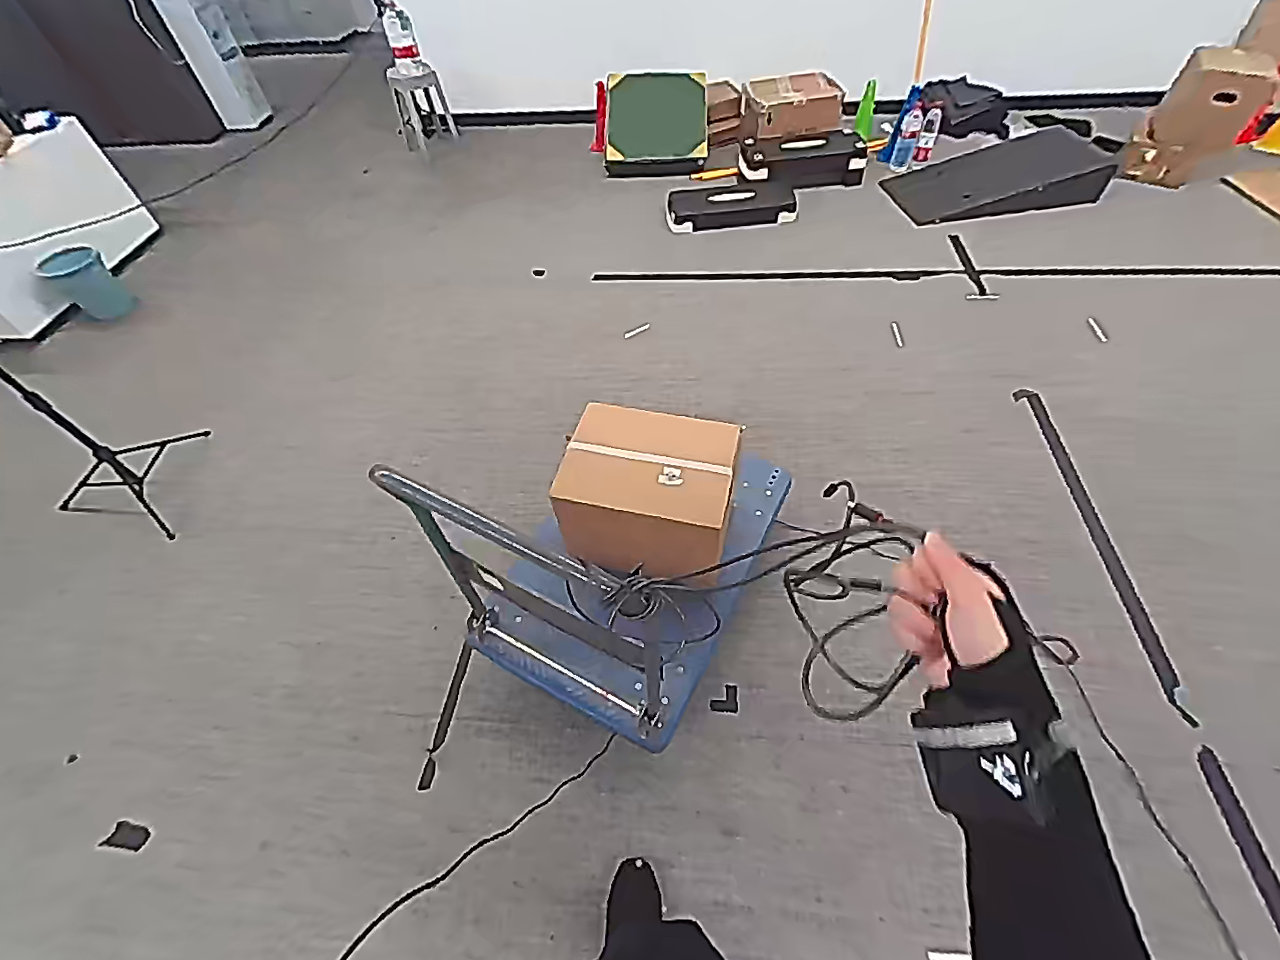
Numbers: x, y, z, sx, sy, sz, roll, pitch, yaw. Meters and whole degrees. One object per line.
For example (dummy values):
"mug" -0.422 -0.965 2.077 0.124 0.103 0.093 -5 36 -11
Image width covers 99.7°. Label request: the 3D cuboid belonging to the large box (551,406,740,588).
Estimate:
"large box" 0.025 0.047 1.407 0.408 0.320 0.320 10 55 11
